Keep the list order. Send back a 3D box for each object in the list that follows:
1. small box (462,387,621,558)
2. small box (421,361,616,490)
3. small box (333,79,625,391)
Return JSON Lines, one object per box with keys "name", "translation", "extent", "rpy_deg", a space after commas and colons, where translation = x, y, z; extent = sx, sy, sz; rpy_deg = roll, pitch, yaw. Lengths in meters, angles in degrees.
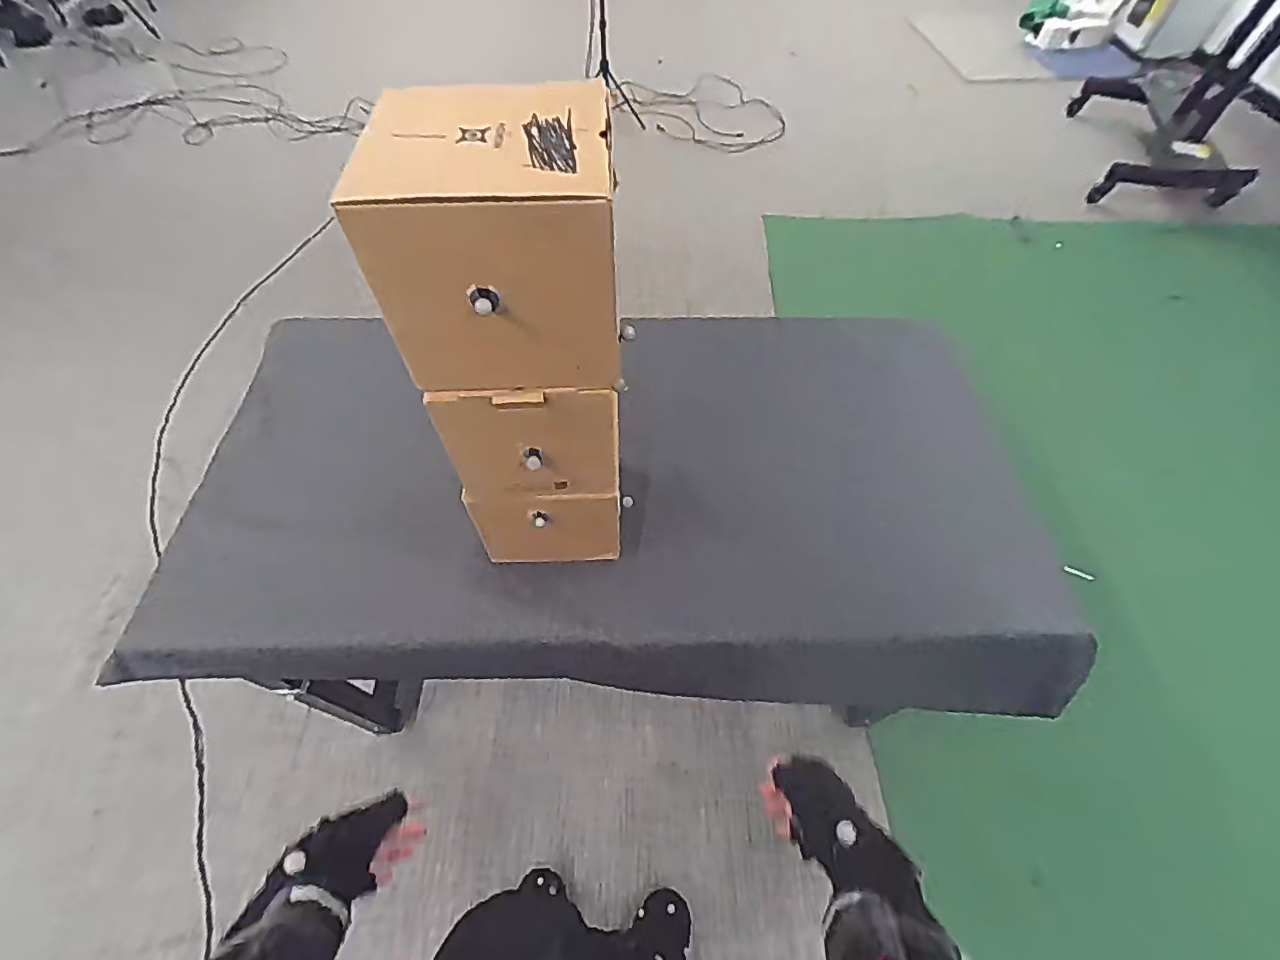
{"name": "small box", "translation": [-0.114, -0.005, 0.708], "extent": [0.179, 0.176, 0.168], "rpy_deg": [-1, 57, -3]}
{"name": "small box", "translation": [-0.112, -0.099, 0.575], "extent": [0.168, 0.176, 0.179], "rpy_deg": [-3, 57, -2]}
{"name": "small box", "translation": [-0.107, -0.189, 0.437], "extent": [0.179, 0.176, 0.168], "rpy_deg": [-4, 57, -4]}
